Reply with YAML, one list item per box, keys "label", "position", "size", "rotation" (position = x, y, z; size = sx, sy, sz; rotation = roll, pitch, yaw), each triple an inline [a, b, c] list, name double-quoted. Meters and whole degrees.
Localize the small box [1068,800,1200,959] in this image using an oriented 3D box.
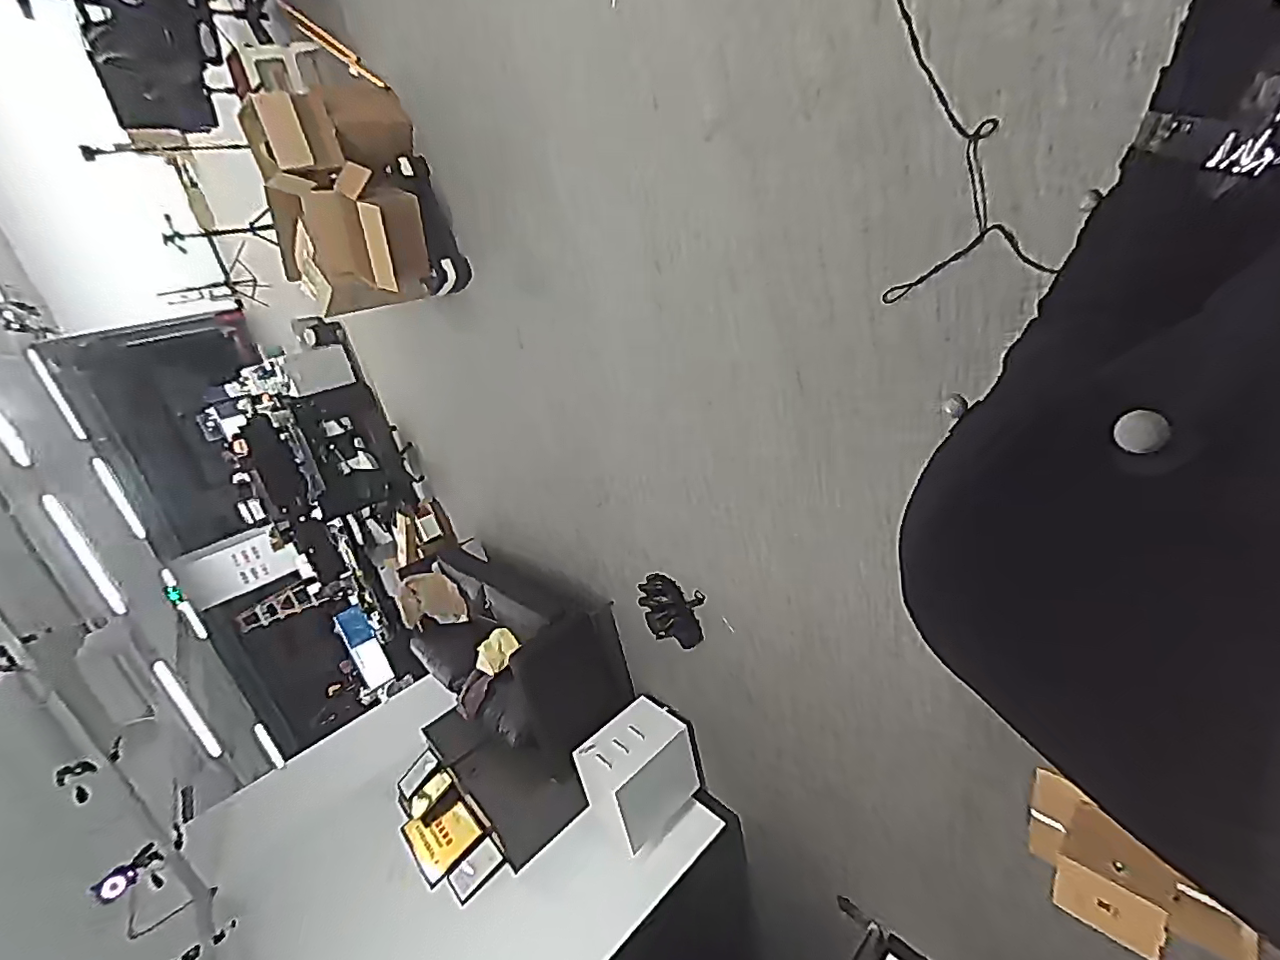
- label: "small box"
  position: [1.044, 0.830, 1.145]
  size: [0.179, 0.176, 0.168]
  rotation: [13, 122, 51]
